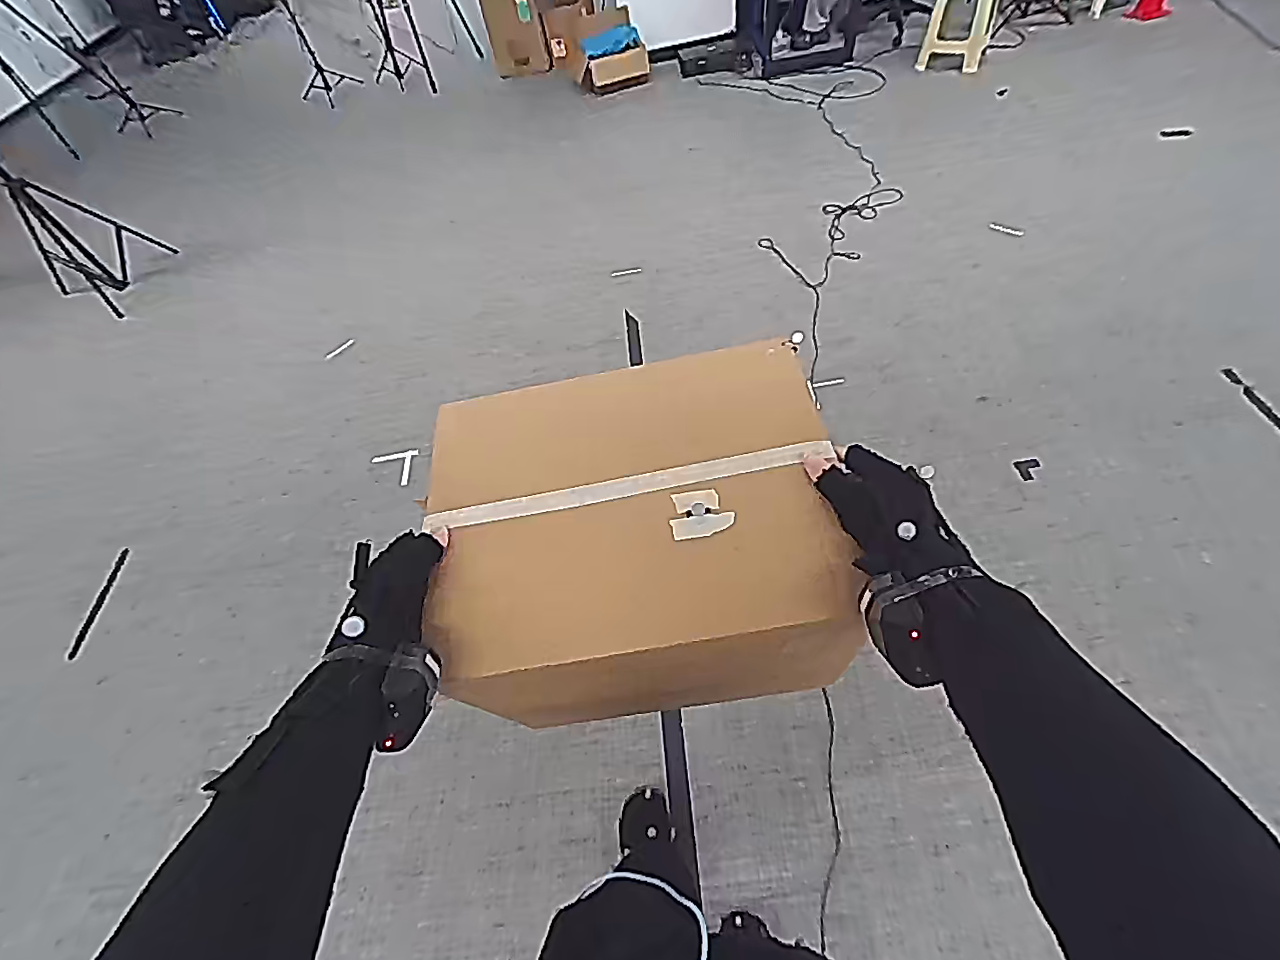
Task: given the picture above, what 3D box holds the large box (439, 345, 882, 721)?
[{"bbox_3d":[0.015,0.086,0.673,0.408,0.320,0.320,-10,58,3],"label":"large box"}]
